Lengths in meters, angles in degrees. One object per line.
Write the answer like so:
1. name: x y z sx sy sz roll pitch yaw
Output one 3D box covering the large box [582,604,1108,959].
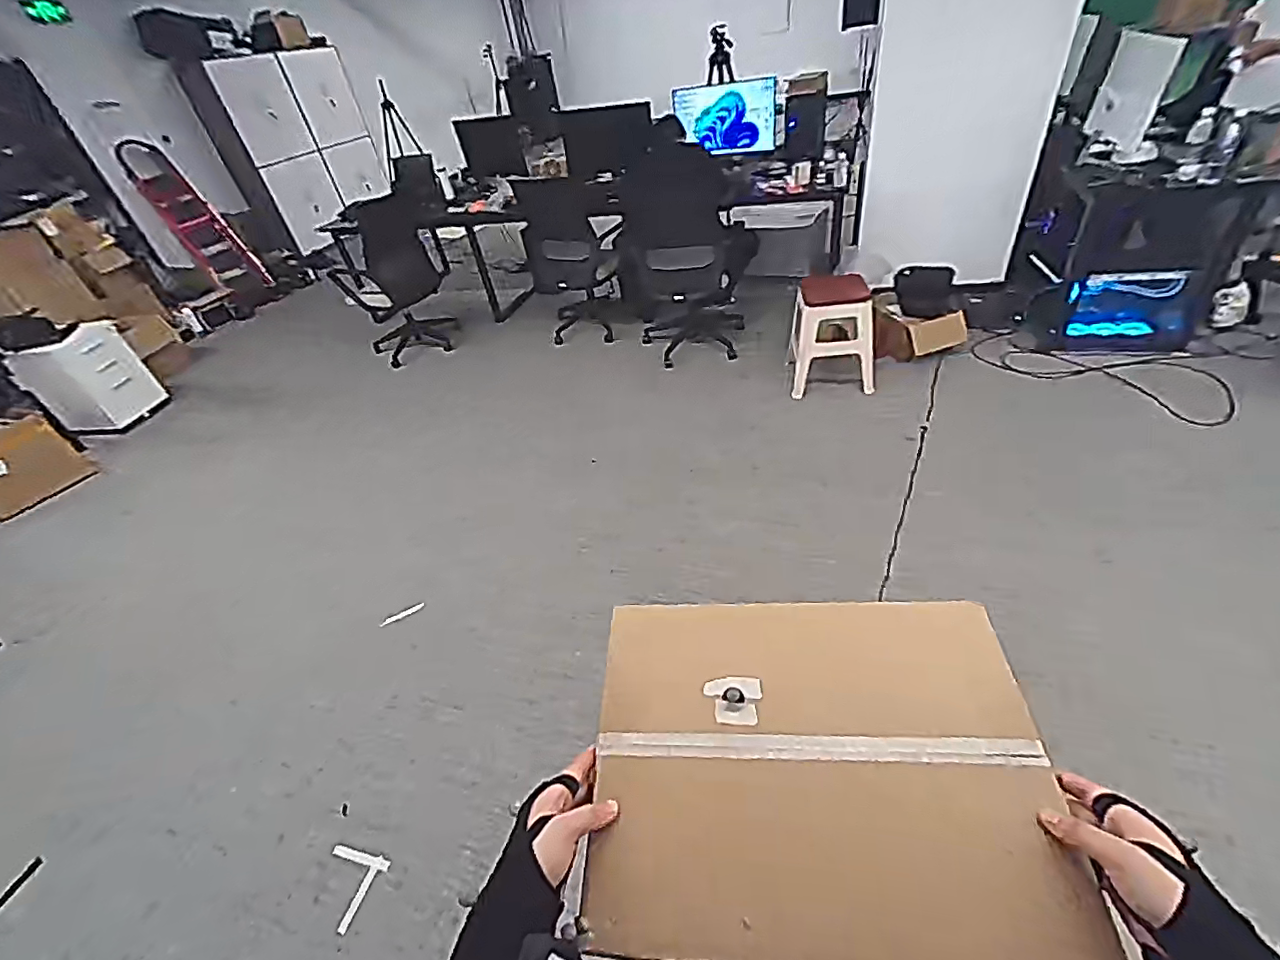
1. large box: 0.178 0.363 0.625 0.408 0.320 0.320 -4 45 9
